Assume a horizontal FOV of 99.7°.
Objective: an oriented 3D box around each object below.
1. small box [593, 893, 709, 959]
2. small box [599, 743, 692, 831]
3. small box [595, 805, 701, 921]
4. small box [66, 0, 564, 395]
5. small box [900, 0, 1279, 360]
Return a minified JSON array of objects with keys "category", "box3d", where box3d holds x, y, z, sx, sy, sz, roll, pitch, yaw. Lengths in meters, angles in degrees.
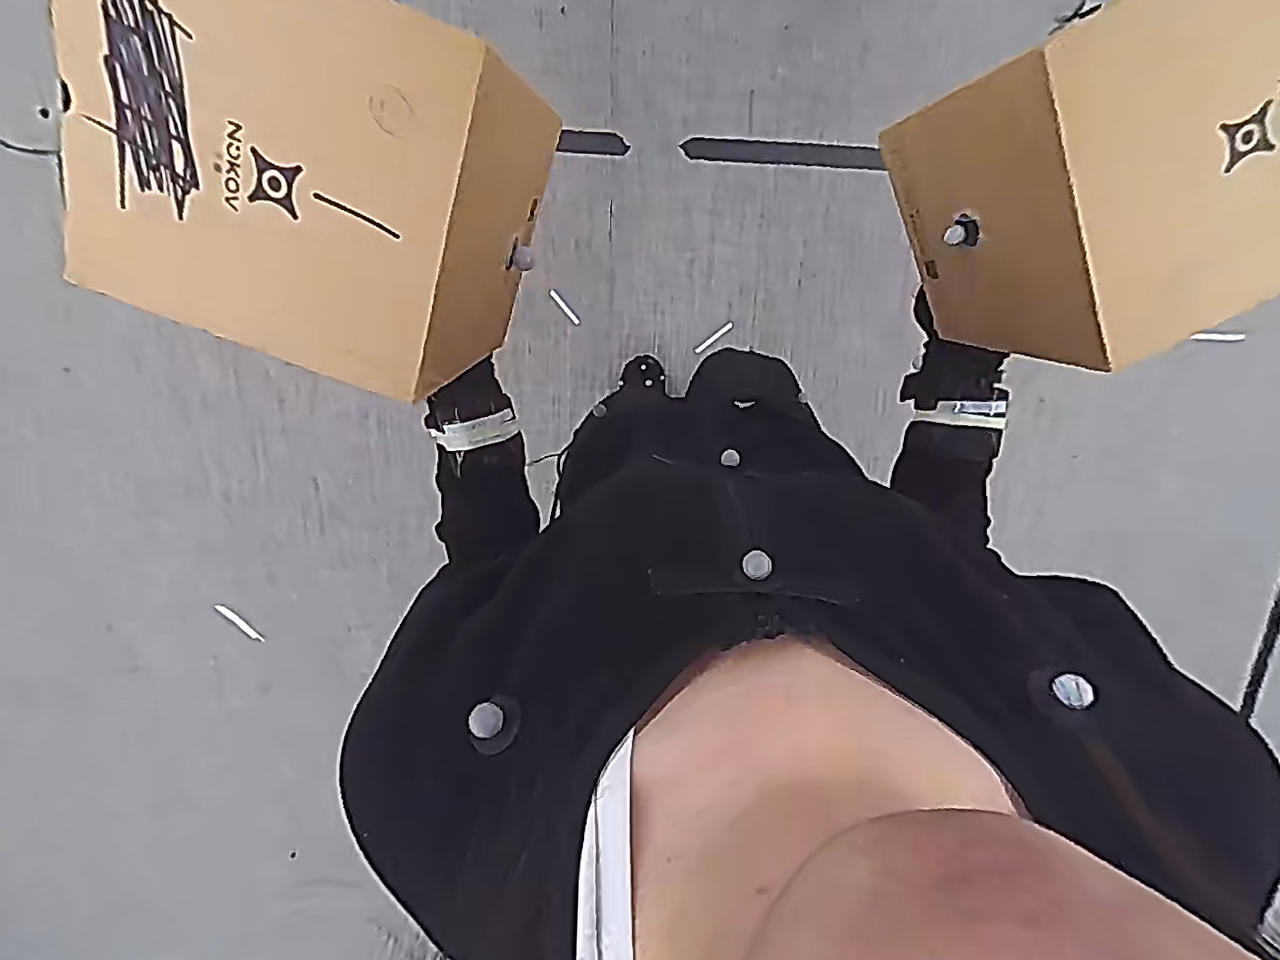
[{"category":"small box","box3d":[0.011,0.749,0.792,0.168,0.176,0.179,3,105,-1]},{"category":"small box","box3d":[0.005,0.669,1.107,0.168,0.176,0.179,6,103,-3]},{"category":"small box","box3d":[0.007,0.705,0.948,0.168,0.176,0.179,4,104,-3]},{"category":"small box","box3d":[-0.160,-0.173,0.314,0.179,0.176,0.168,20,115,-7]},{"category":"small box","box3d":[0.288,-0.194,0.330,0.179,0.176,0.168,-27,110,7]}]
